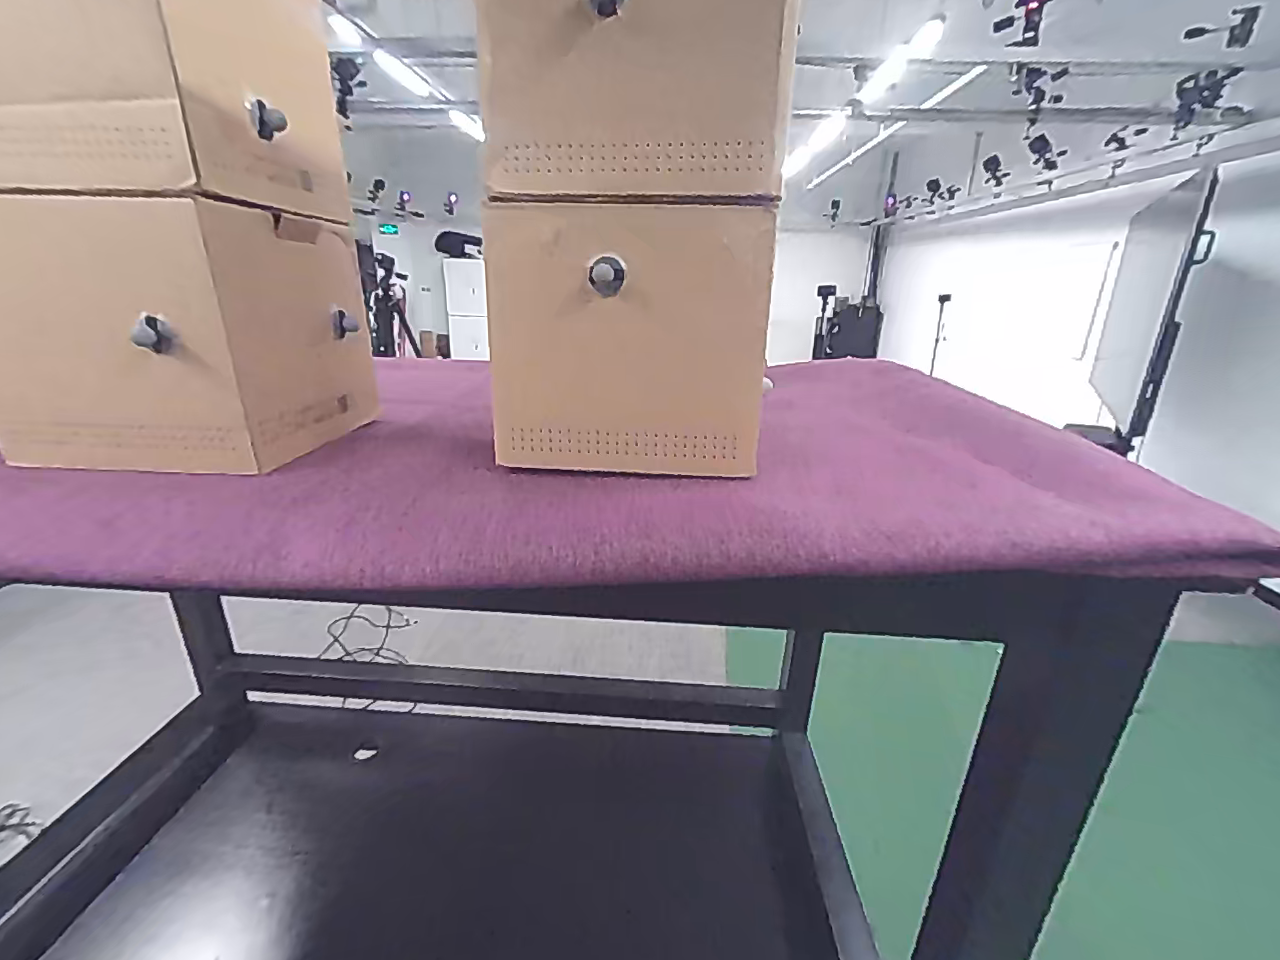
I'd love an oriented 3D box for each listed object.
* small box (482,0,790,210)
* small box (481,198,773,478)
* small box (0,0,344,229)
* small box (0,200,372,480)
[{"bbox_3d":[0.002,-0.260,0.362,0.179,0.176,0.168,2,18,5],"label":"small box"},{"bbox_3d":[-0.004,-0.103,0.411,0.179,0.176,0.168,3,18,4],"label":"small box"},{"bbox_3d":[-0.327,-0.257,0.349,0.179,0.176,0.168,1,20,0],"label":"small box"},{"bbox_3d":[-0.328,-0.103,0.401,0.179,0.176,0.168,1,20,1],"label":"small box"}]
